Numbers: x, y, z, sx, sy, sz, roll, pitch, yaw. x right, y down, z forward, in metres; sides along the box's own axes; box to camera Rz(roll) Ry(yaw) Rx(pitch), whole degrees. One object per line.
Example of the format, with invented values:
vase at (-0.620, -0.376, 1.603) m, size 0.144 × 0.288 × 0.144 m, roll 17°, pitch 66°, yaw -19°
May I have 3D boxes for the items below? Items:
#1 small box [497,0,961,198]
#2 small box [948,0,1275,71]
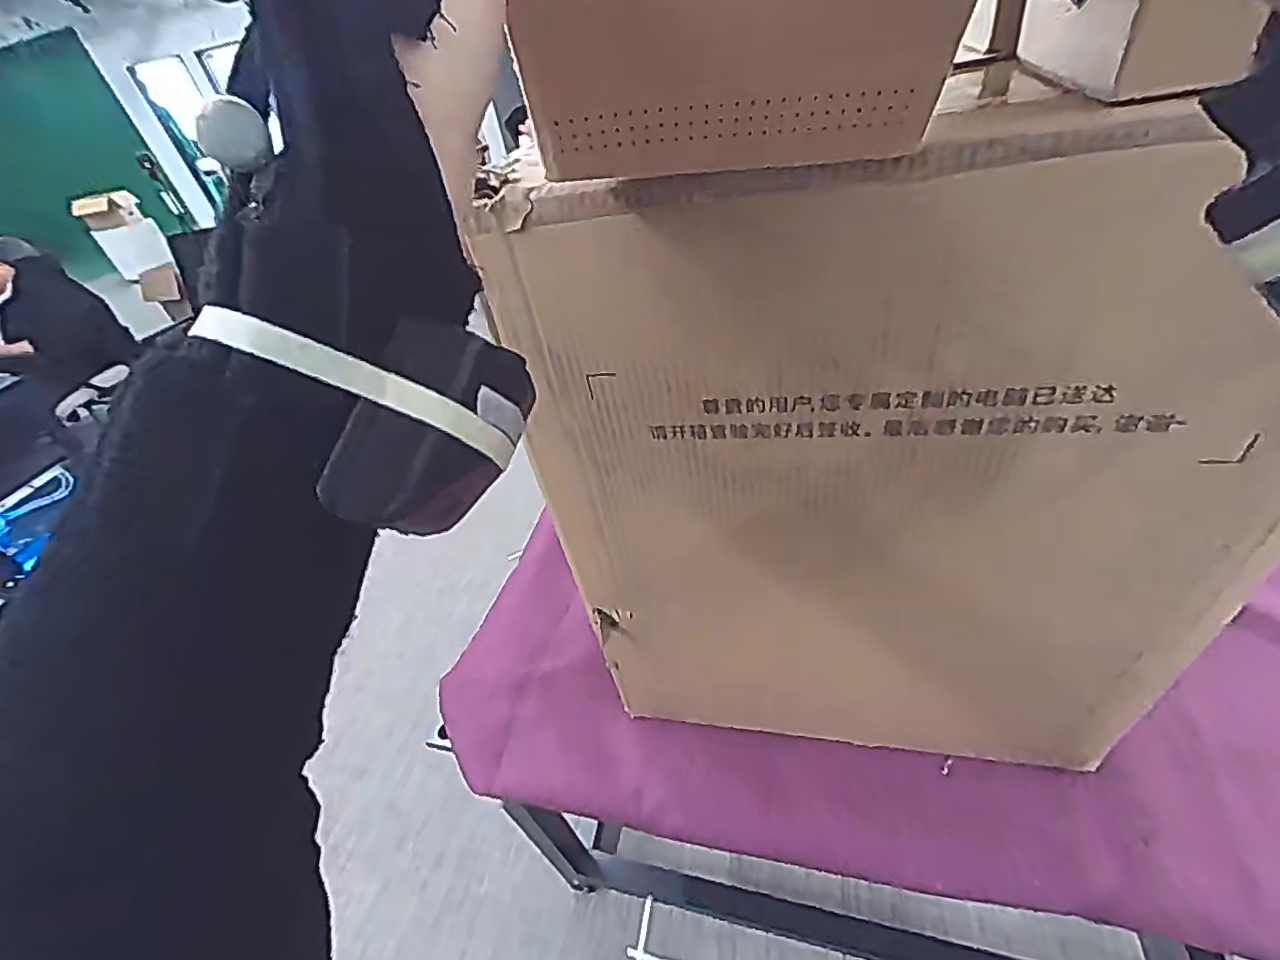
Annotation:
small box at (0.032, -0.241, 0.218) m, size 0.179 × 0.176 × 0.168 m, roll -2°, pitch 66°, yaw 4°
small box at (0.331, -0.406, 0.377) m, size 0.168 × 0.176 × 0.179 m, roll 2°, pitch 41°, yaw 18°
